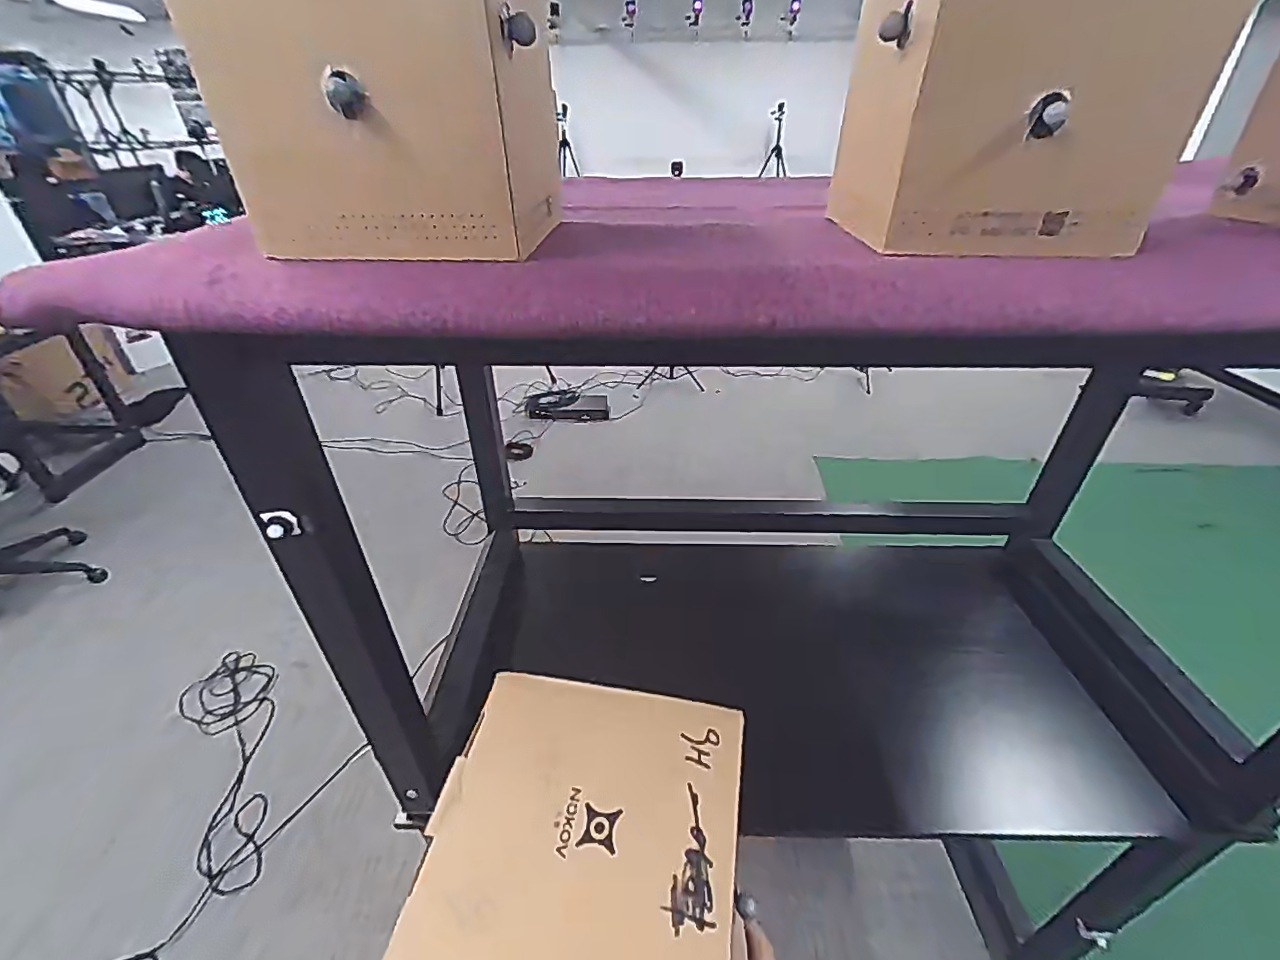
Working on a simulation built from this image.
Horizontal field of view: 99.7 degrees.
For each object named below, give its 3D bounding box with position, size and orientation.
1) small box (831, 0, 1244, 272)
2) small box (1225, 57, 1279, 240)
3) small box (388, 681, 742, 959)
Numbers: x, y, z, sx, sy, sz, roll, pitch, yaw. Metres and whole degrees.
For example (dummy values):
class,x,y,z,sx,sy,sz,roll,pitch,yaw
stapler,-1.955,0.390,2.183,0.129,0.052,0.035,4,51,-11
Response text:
class,x,y,z,sx,sy,sz,roll,pitch,yaw
small box,0.252,-0.255,0.390,0.168,0.176,0.179,3,34,3
small box,0.615,-0.267,0.404,0.179,0.176,0.168,4,32,6
small box,-0.028,0.265,0.373,0.179,0.176,0.168,6,45,10
